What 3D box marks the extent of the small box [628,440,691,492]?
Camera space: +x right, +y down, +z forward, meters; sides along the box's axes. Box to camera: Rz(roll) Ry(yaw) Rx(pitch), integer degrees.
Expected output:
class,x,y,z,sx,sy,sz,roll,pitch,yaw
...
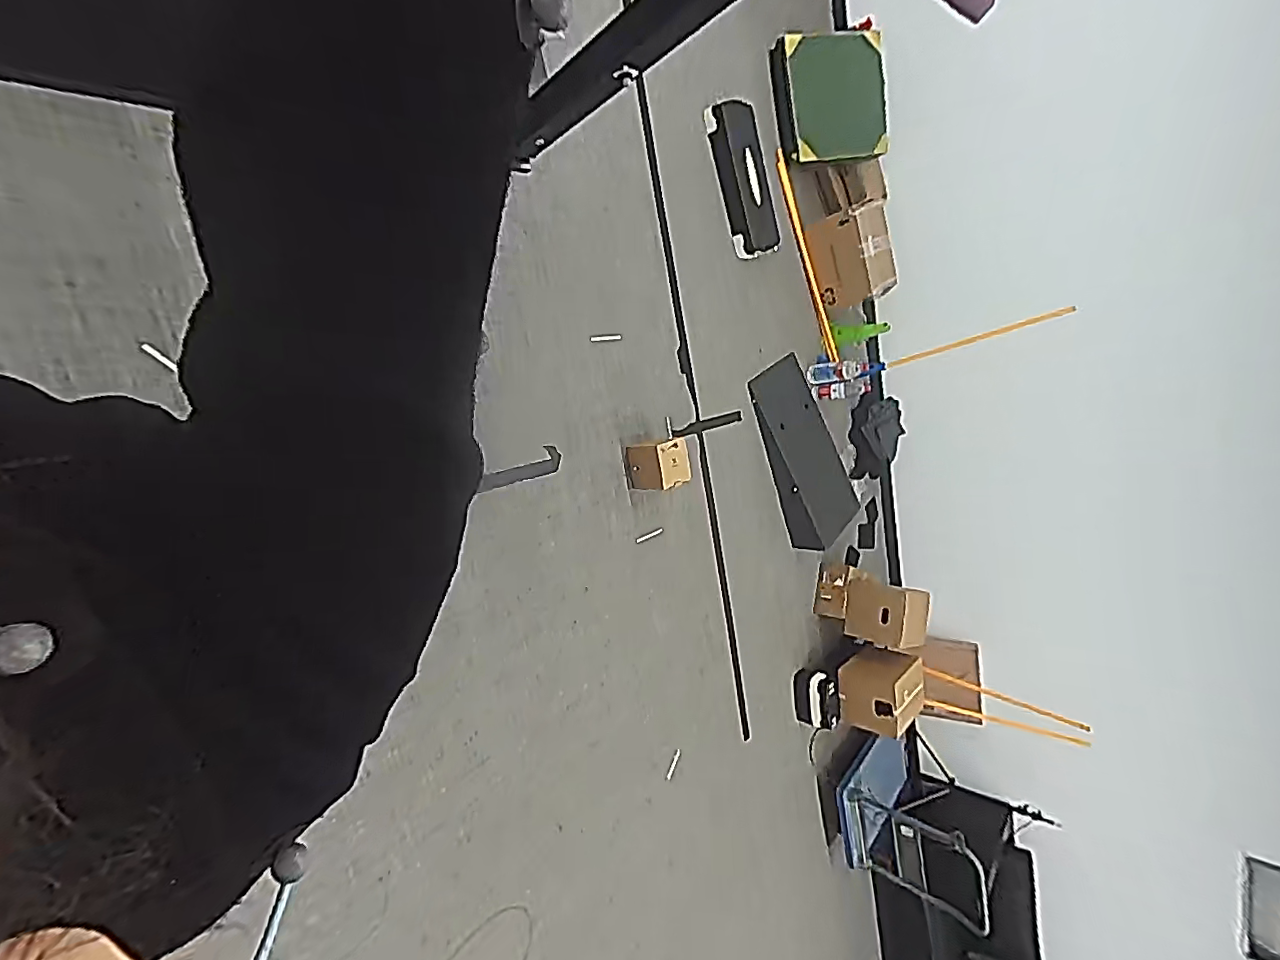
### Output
class,x,y,z,sx,sy,sz,roll,pitch,yaw
small box,0.075,-0.059,2.118,0.168,0.176,0.179,-20,105,-43
